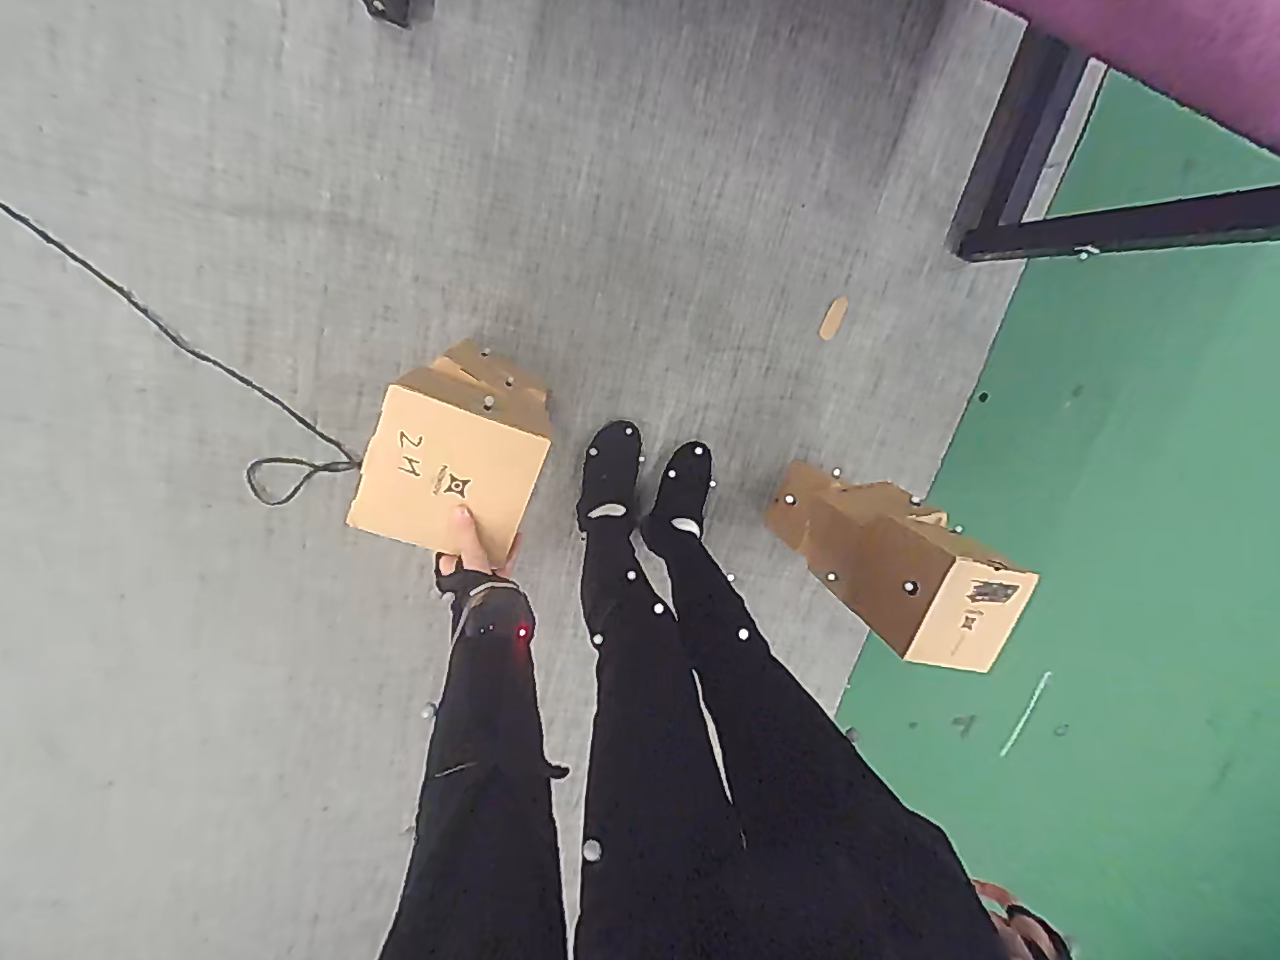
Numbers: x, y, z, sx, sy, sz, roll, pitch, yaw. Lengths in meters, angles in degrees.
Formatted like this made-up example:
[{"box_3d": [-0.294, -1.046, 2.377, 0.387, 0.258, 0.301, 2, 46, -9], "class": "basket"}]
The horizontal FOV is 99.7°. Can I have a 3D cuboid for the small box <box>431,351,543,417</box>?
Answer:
[{"box_3d": [-0.255, -0.073, 0.812, 0.168, 0.176, 0.179, 34, 98, -19], "class": "small box"}]

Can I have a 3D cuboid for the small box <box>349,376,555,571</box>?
[{"box_3d": [-0.216, -0.018, 0.660, 0.179, 0.176, 0.168, 21, 102, -16], "class": "small box"}]

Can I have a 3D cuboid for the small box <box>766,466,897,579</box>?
[{"box_3d": [0.404, 0.085, 1.175, 0.179, 0.176, 0.168, 22, 103, -17], "class": "small box"}]

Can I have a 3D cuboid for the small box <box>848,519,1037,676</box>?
[{"box_3d": [0.469, 0.181, 0.867, 0.168, 0.176, 0.179, 14, 106, -16], "class": "small box"}]

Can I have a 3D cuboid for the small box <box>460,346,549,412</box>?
[{"box_3d": [-0.278, -0.123, 0.964, 0.168, 0.176, 0.179, 28, 102, -18], "class": "small box"}]
